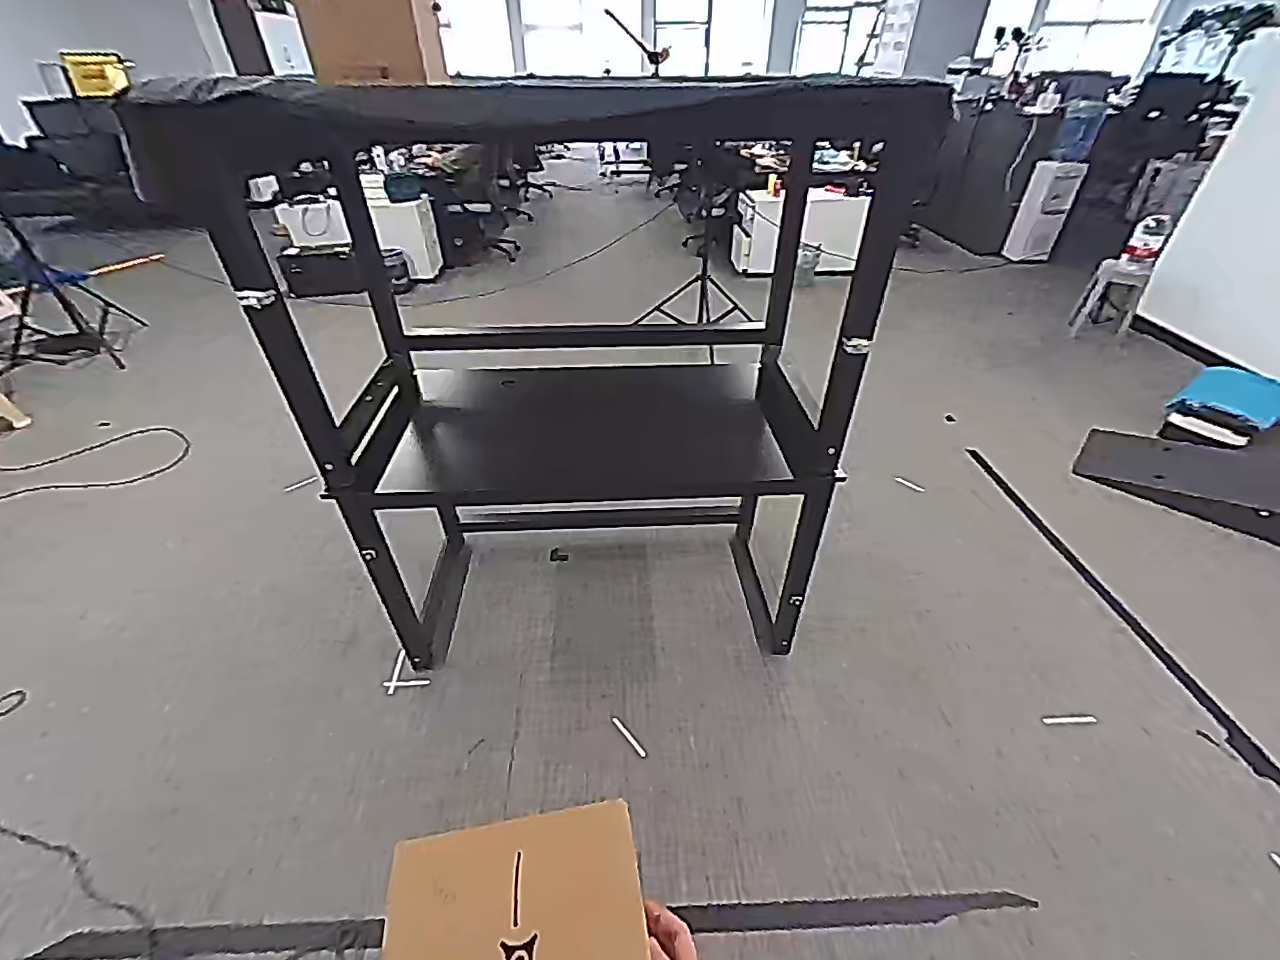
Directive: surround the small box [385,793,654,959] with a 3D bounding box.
[{"bbox_3d":[-0.075,0.357,0.384,0.168,0.176,0.179,-6,43,-10],"label":"small box"}]
